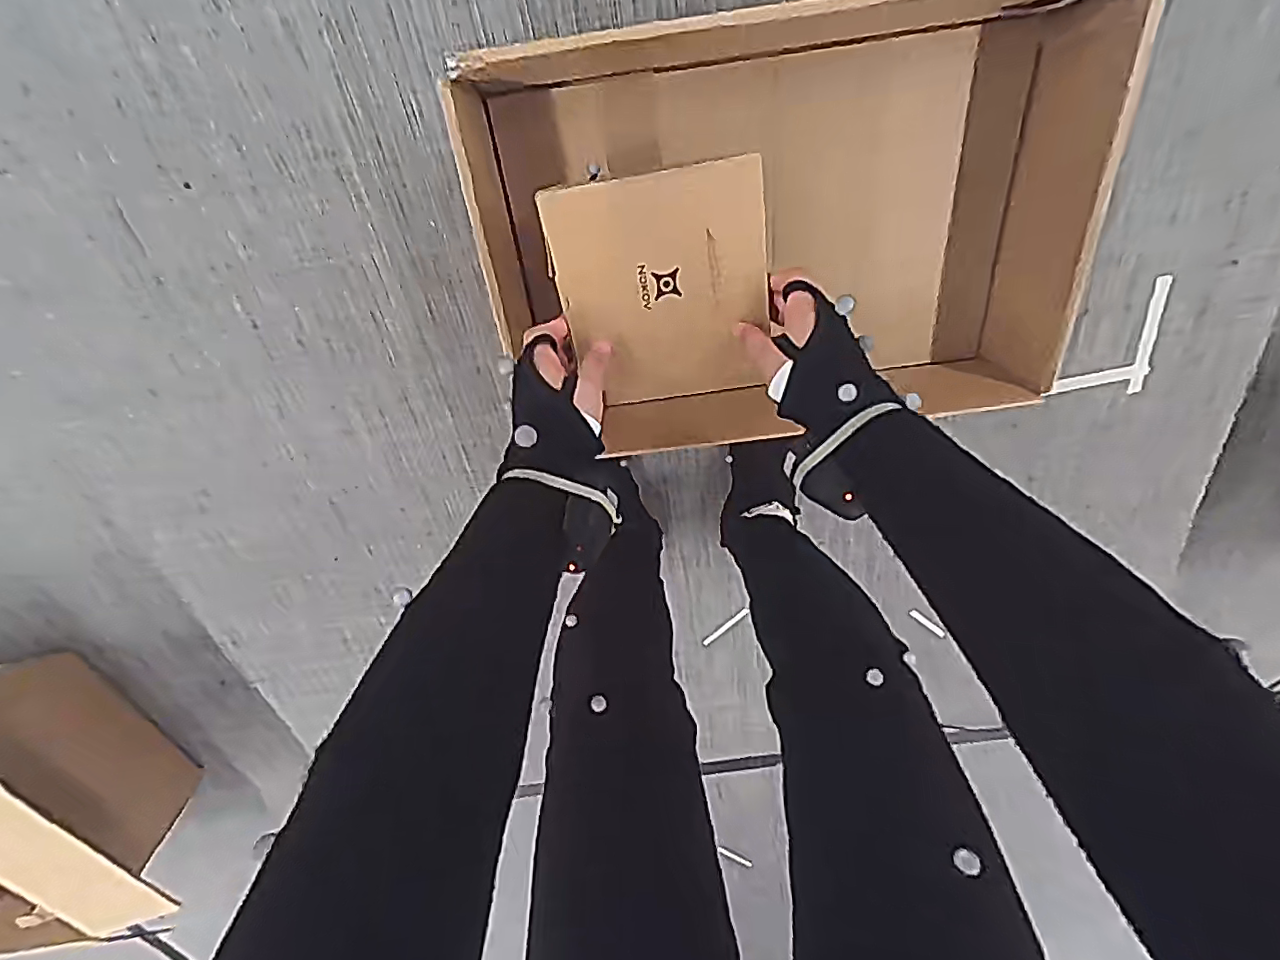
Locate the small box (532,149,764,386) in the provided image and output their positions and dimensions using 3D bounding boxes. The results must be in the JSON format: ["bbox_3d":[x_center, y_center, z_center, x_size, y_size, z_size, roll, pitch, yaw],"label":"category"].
[{"bbox_3d":[0.013,-0.207,0.521,0.179,0.176,0.168,-9,121,4],"label":"small box"}]
